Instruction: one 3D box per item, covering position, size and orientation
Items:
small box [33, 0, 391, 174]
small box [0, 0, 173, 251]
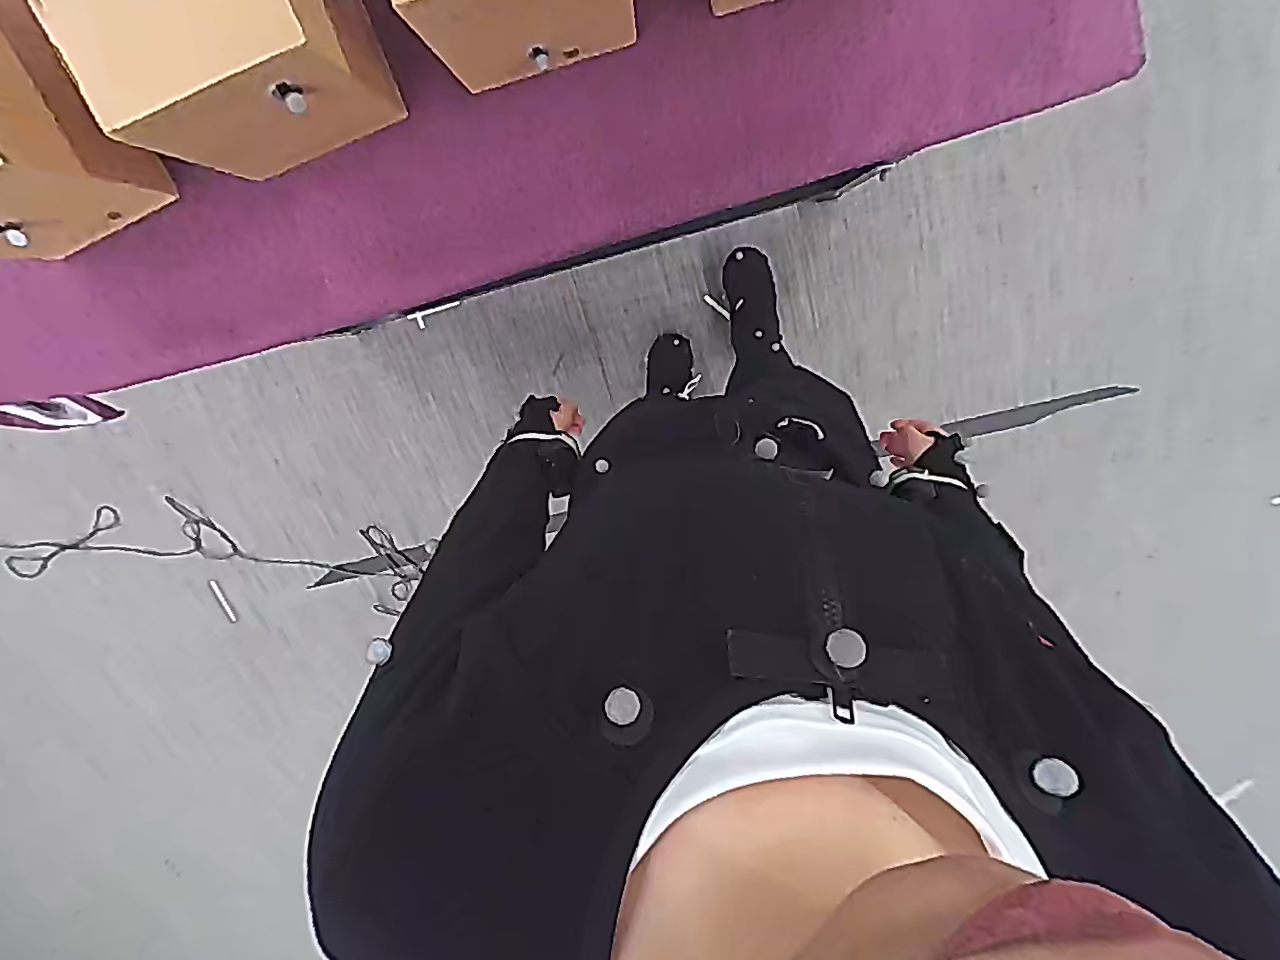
[{"bbox_3d":[-0.334,-0.379,0.439,0.179,0.176,0.168,-17,107,8],"label":"small box"},{"bbox_3d":[-0.580,-0.315,0.471,0.168,0.176,0.179,-20,106,8],"label":"small box"}]
